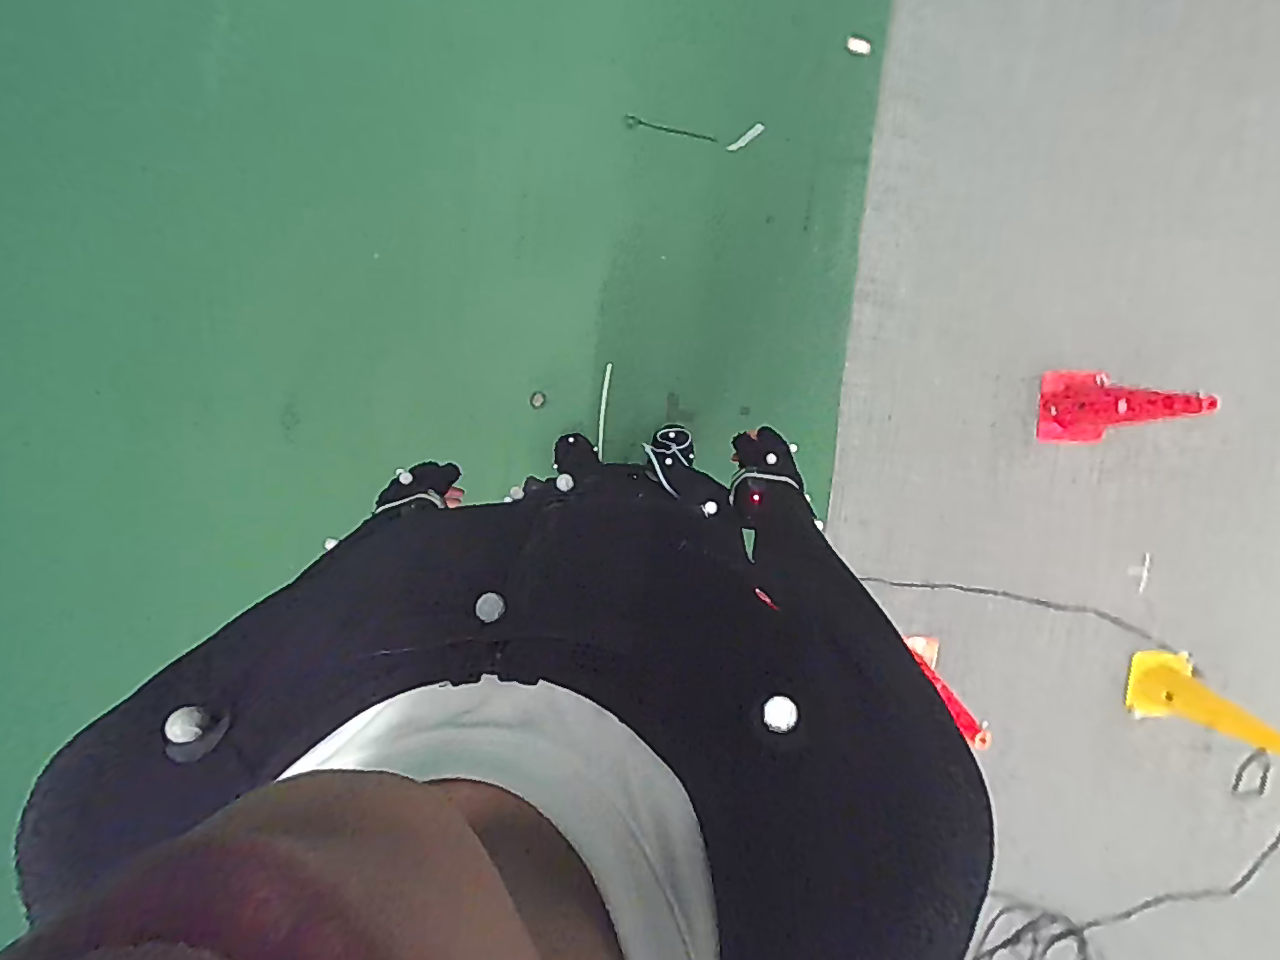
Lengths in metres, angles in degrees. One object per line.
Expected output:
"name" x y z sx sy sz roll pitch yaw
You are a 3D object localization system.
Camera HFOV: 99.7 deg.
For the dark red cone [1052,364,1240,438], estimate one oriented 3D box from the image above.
"dark red cone" 1.243 -0.198 1.330 0.201 0.394 0.202 -1 97 -2
